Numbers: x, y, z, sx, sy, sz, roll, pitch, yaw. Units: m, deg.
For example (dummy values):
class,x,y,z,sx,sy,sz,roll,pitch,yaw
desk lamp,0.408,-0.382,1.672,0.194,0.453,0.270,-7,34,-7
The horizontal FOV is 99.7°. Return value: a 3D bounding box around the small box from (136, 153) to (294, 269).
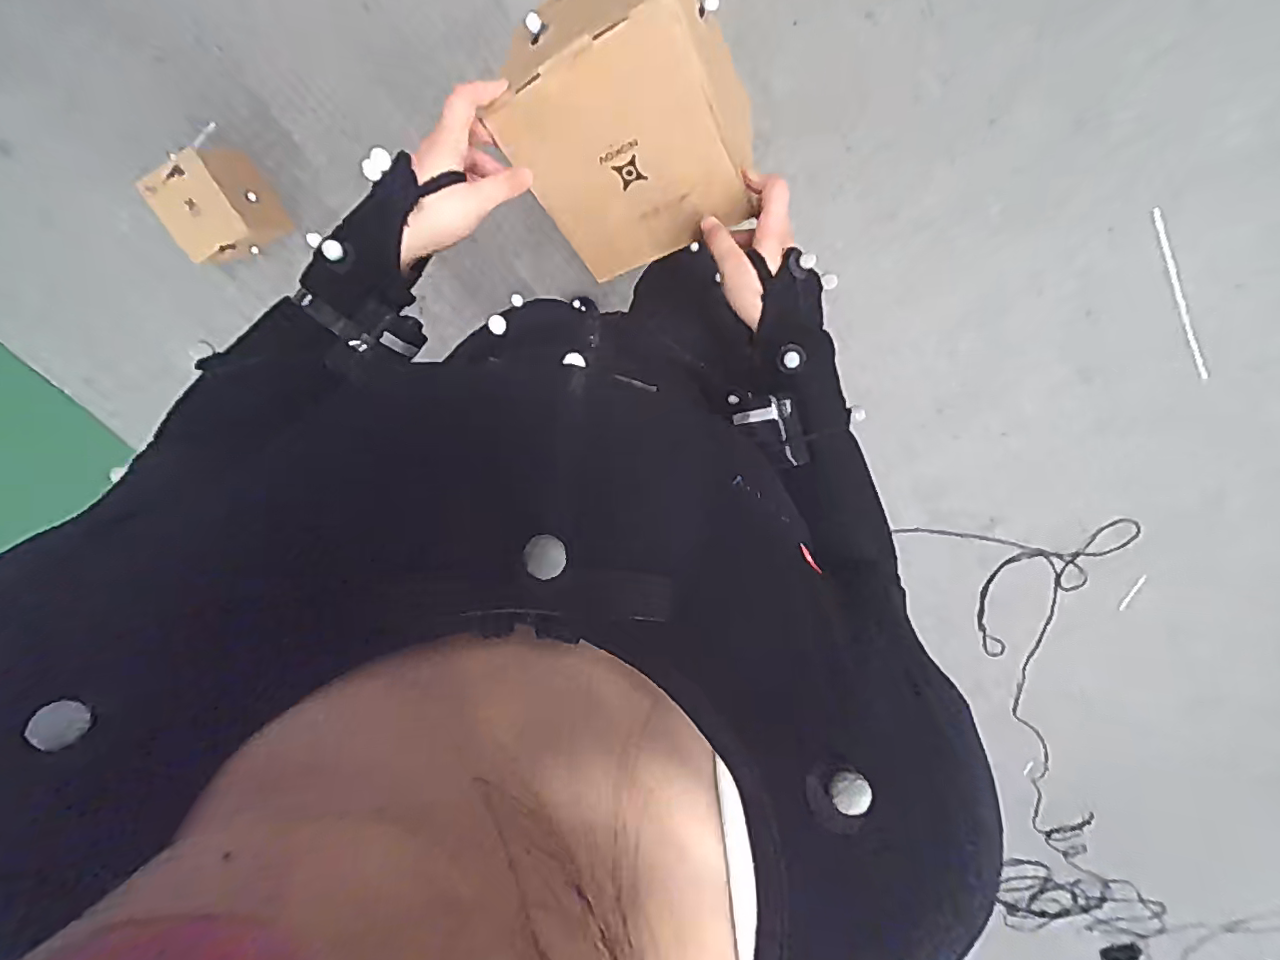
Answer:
class,x,y,z,sx,sy,sz,roll,pitch,yaw
small box,-0.924,-0.596,1.197,0.168,0.176,0.179,-20,116,13
